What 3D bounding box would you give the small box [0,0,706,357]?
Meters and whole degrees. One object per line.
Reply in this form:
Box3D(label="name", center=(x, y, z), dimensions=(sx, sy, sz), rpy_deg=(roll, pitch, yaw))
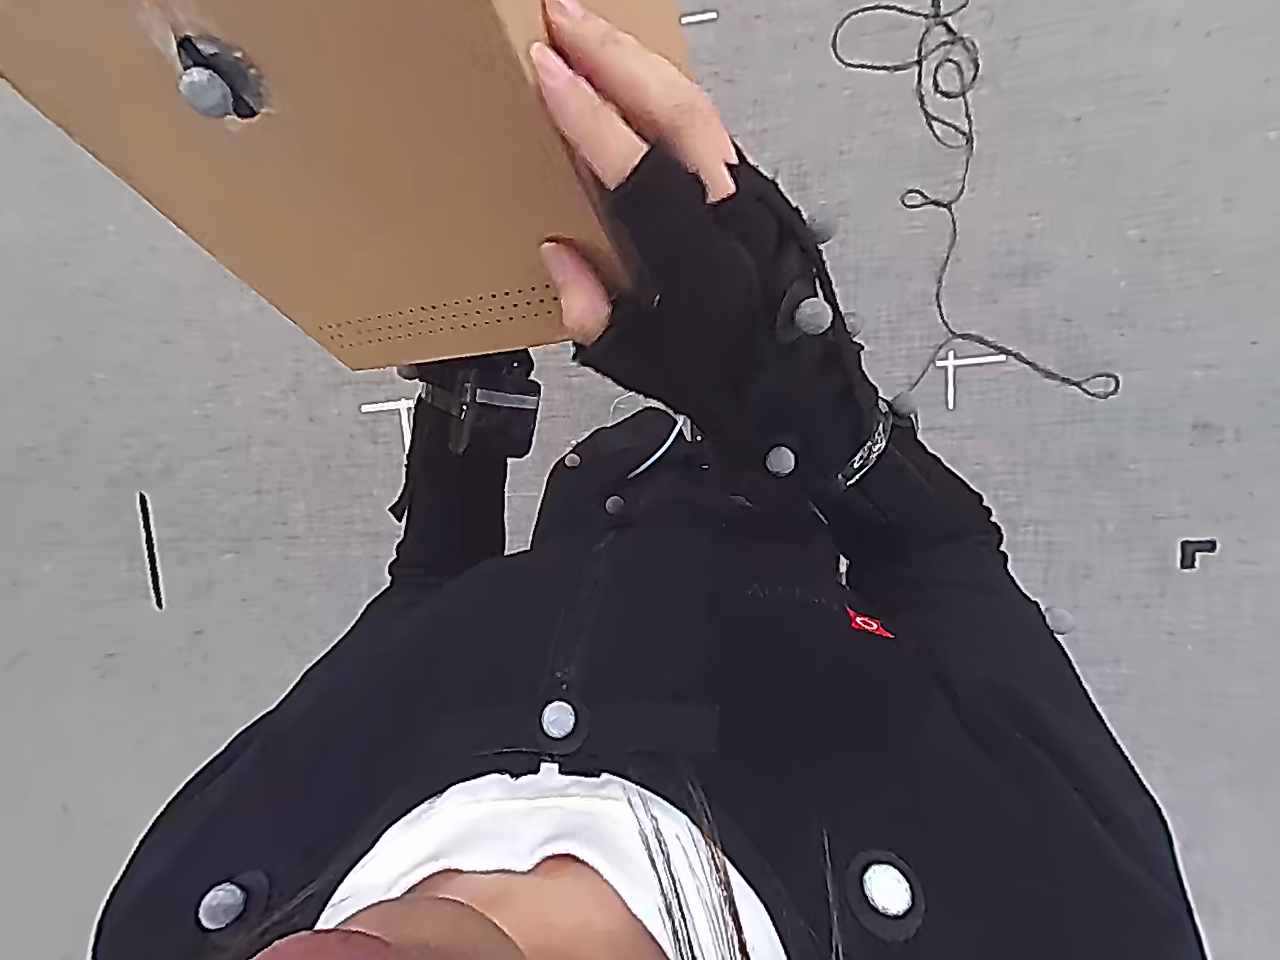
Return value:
Box3D(label="small box", center=(-0.084, -0.171, 0.232), dimensions=(0.179, 0.176, 0.168), rpy_deg=(-2, 61, 23))
